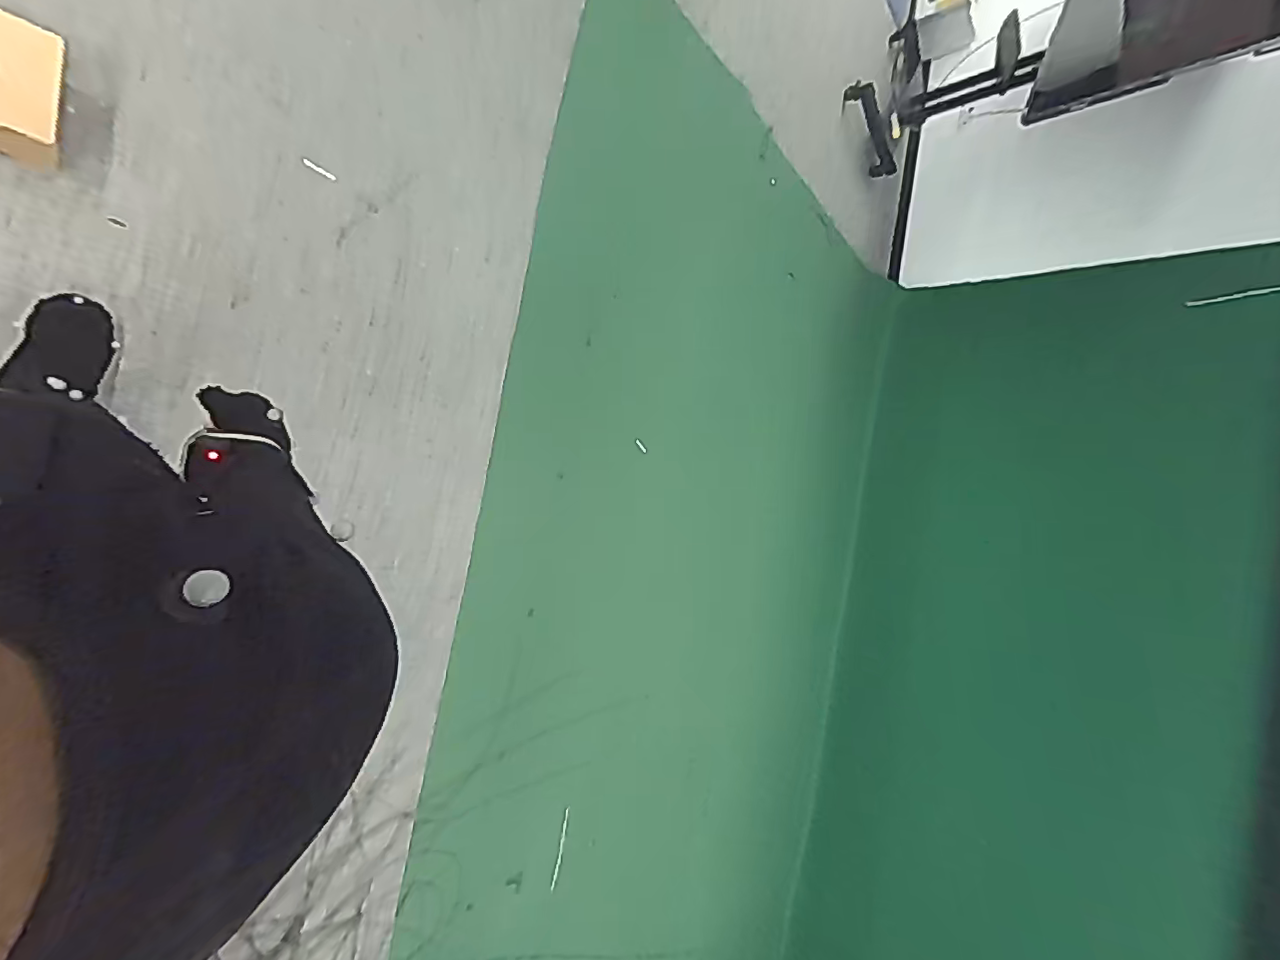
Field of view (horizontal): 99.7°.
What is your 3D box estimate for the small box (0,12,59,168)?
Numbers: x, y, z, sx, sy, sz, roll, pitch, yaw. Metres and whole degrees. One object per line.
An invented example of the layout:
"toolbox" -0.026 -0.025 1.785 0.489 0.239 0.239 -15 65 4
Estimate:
"small box" -1.065 -0.643 0.867 0.168 0.176 0.179 5 93 -48
